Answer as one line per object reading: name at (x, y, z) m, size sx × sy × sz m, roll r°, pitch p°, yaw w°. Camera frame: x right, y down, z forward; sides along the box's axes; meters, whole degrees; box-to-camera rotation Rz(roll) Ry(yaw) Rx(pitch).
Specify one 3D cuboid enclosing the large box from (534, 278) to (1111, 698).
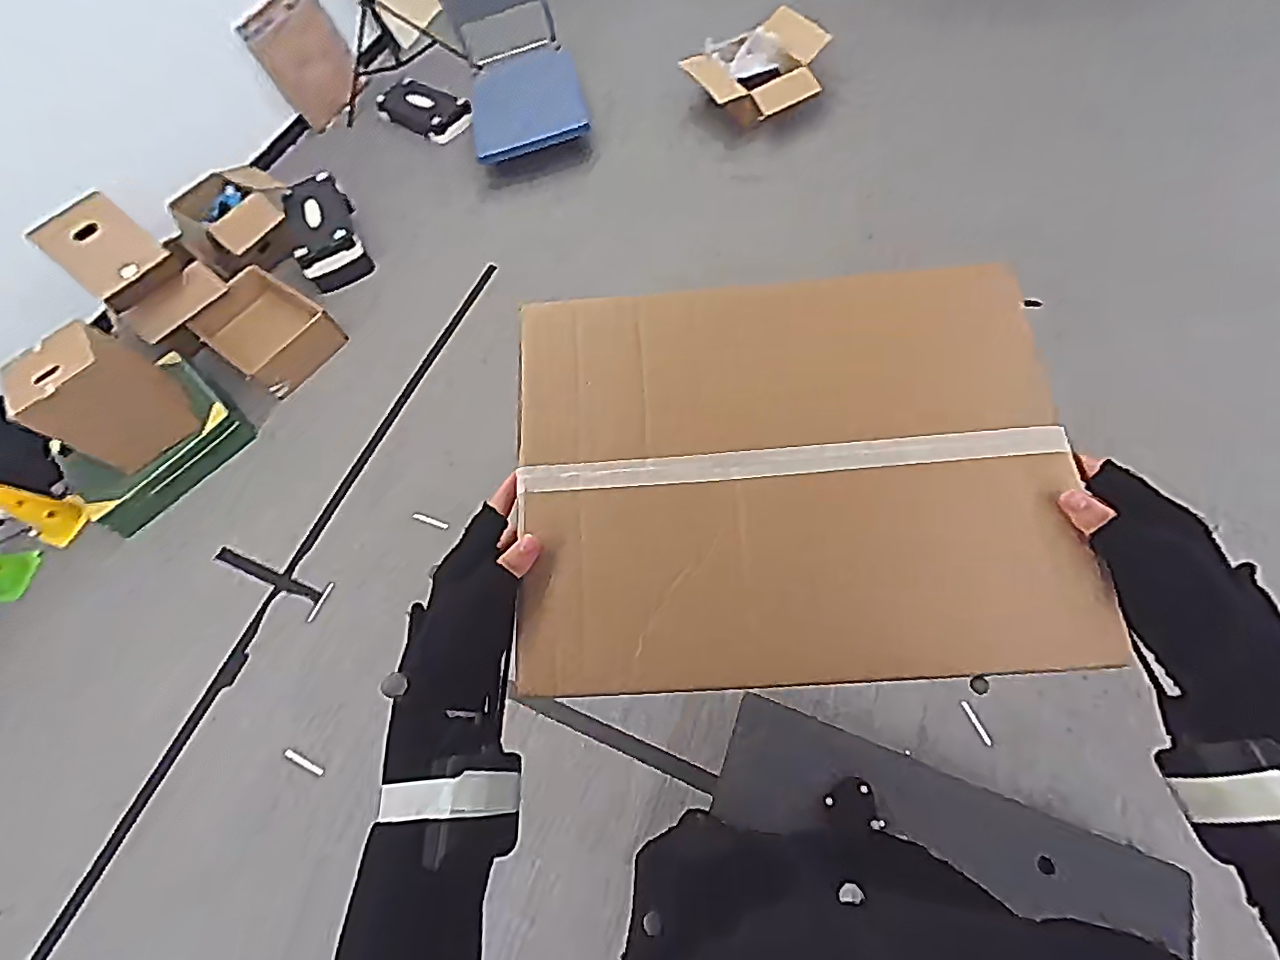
large box at (0.128, 0.034, 0.560) m, size 0.408 × 0.320 × 0.320 m, roll -4°, pitch 72°, yaw 3°

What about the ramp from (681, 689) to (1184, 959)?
ramp at (0.632, 0.877, 1.166) m, size 0.991 × 0.206 × 0.509 m, roll 14°, pitch 65°, yaw 17°
